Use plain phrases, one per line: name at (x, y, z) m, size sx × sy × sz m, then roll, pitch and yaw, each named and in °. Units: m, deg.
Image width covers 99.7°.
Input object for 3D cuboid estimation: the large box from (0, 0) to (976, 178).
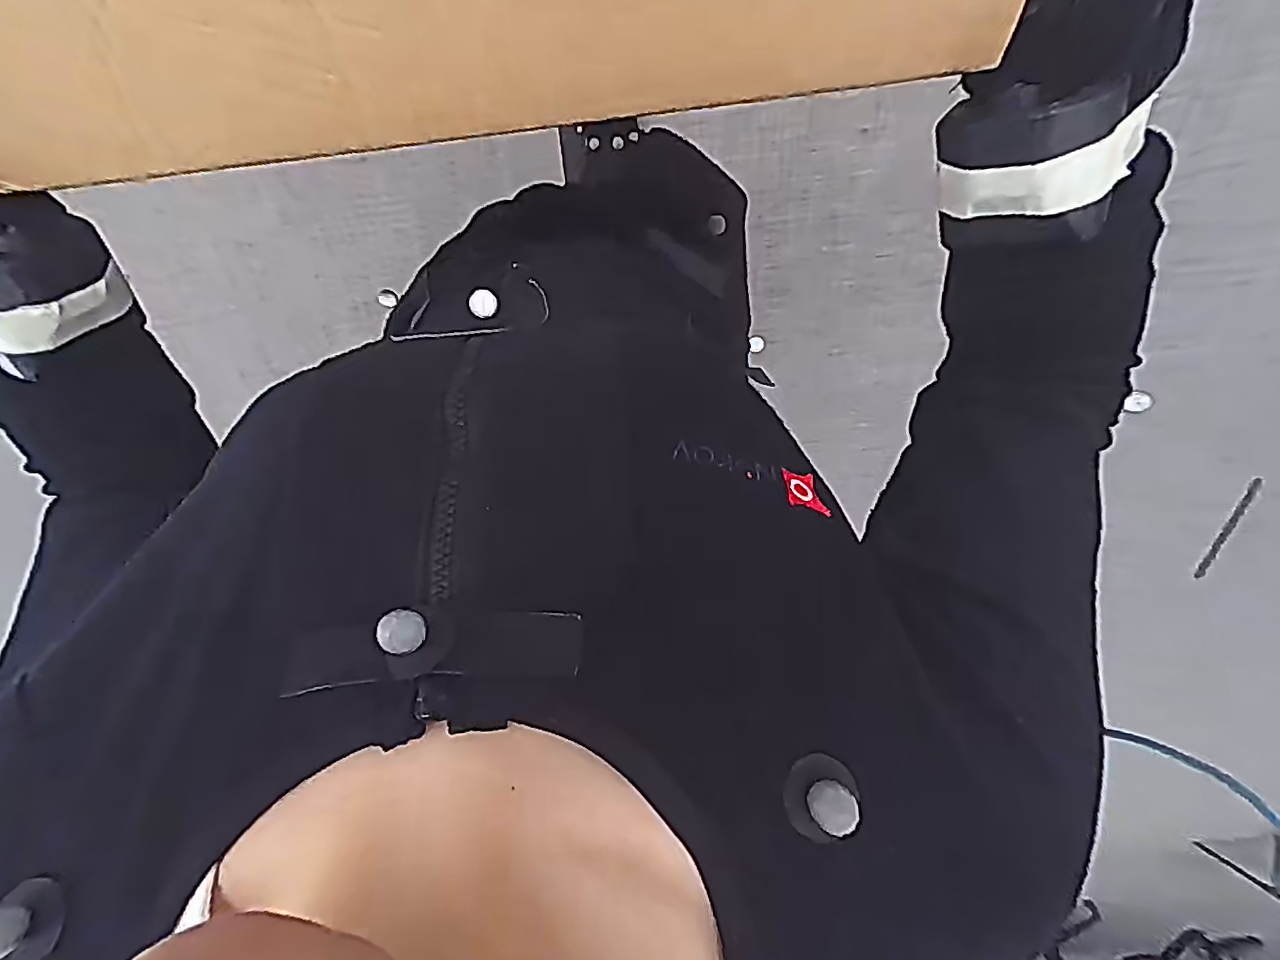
large box at (-0.092, -0.356, 0.183) m, size 0.408 × 0.320 × 0.320 m, roll -6°, pitch 143°, yaw 2°
